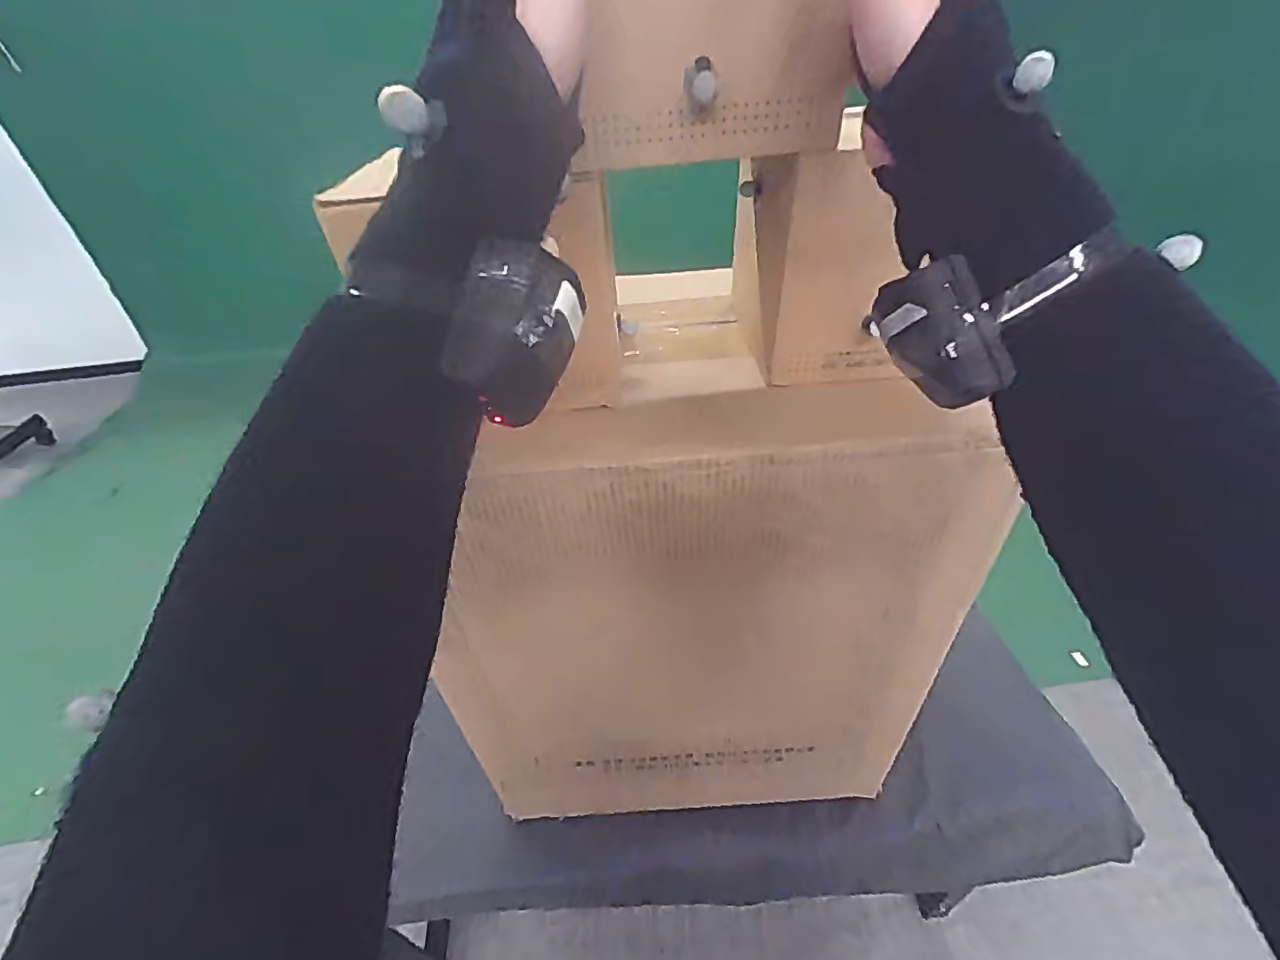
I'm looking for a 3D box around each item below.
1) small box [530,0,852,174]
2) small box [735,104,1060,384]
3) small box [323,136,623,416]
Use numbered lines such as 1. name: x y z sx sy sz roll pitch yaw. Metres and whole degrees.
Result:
1. small box: 0.023 -0.304 0.334 0.179 0.176 0.168 -6 41 -3
2. small box: 0.178 -0.197 0.449 0.168 0.176 0.179 -4 42 -1
3. small box: -0.107 -0.164 0.438 0.179 0.176 0.168 -3 42 -1
